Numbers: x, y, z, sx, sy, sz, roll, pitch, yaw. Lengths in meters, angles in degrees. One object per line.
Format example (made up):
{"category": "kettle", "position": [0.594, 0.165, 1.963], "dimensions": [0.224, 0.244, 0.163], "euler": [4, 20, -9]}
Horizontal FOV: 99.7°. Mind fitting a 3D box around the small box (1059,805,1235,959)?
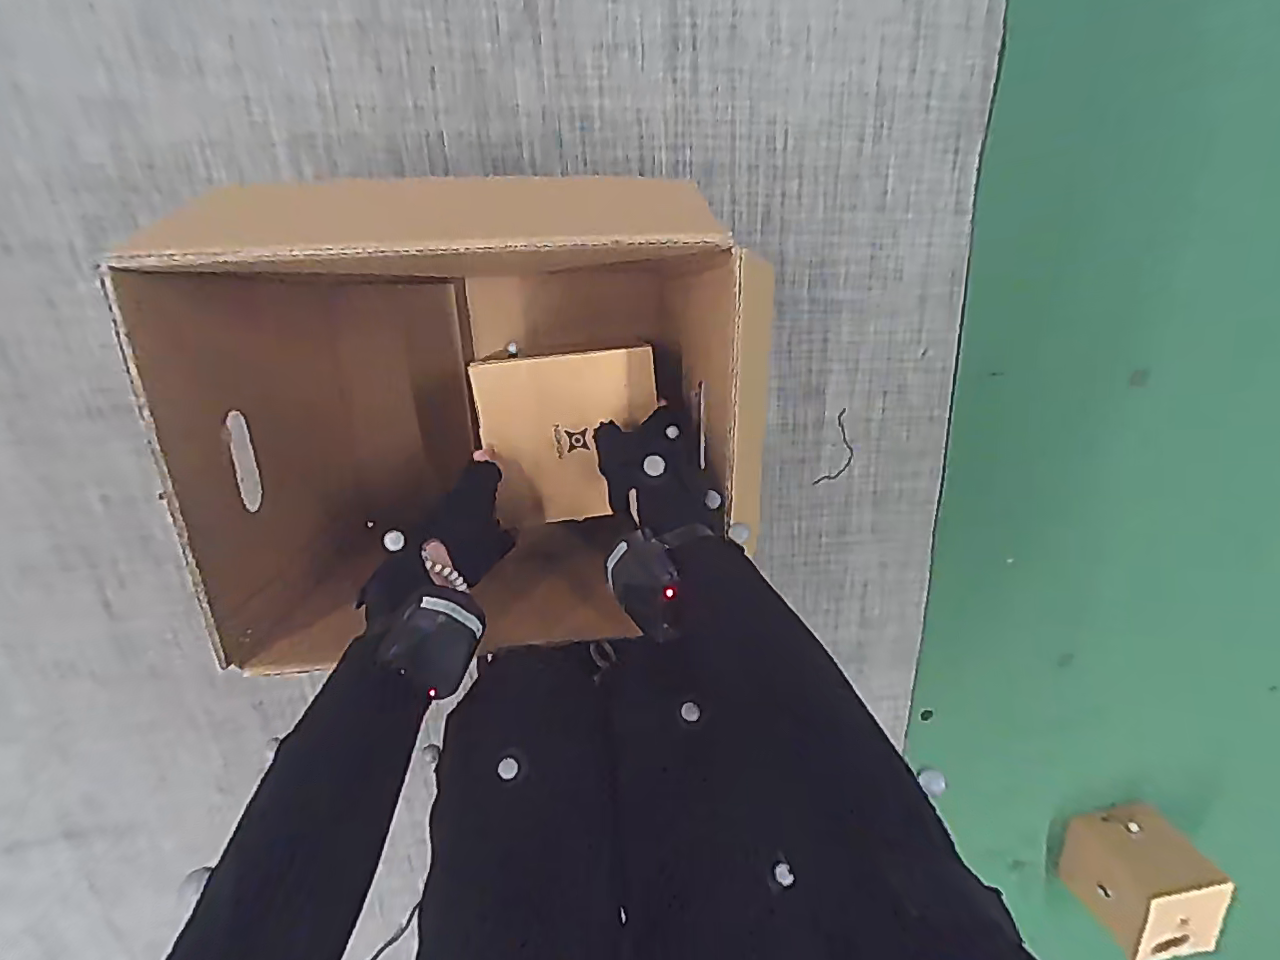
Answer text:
{"category": "small box", "position": [0.952, 0.768, 1.035], "dimensions": [0.168, 0.176, 0.179], "euler": [-7, 108, -5]}
